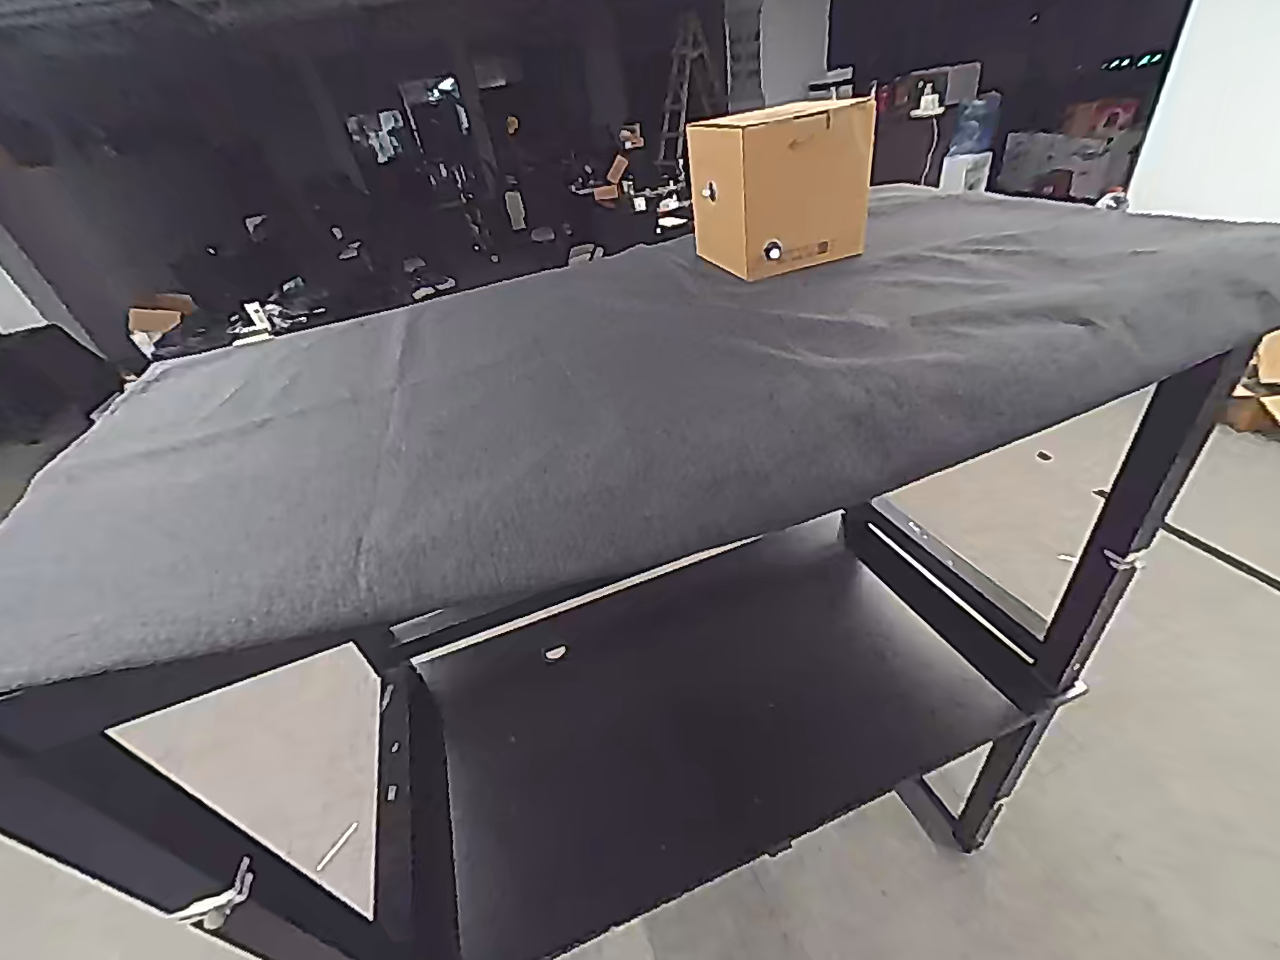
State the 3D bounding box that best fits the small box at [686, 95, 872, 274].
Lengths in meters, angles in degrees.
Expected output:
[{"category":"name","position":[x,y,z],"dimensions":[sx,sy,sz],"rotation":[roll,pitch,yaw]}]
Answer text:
[{"category":"small box","position":[0.174,-0.380,0.703],"dimensions":[0.168,0.176,0.179],"rotation":[-17,35,-8]}]
